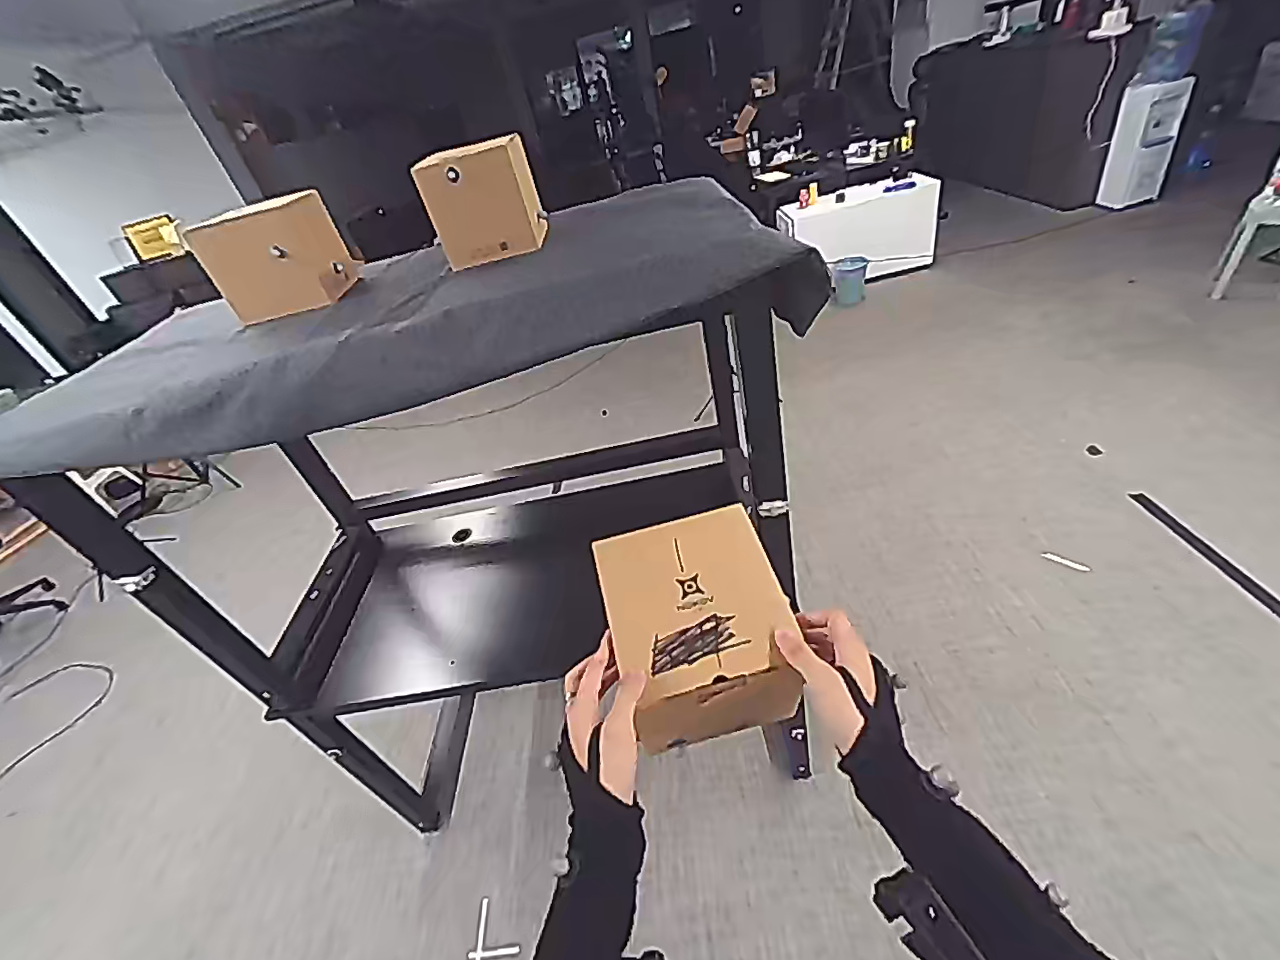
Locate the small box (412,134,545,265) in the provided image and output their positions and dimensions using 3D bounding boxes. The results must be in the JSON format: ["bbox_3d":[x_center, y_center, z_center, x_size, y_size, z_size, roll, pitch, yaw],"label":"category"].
[{"bbox_3d":[-0.280,-0.510,0.985,0.168,0.176,0.179,-12,36,5],"label":"small box"}]

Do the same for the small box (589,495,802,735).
[{"bbox_3d":[0.054,0.149,0.570,0.168,0.176,0.179,-14,49,-3],"label":"small box"}]
